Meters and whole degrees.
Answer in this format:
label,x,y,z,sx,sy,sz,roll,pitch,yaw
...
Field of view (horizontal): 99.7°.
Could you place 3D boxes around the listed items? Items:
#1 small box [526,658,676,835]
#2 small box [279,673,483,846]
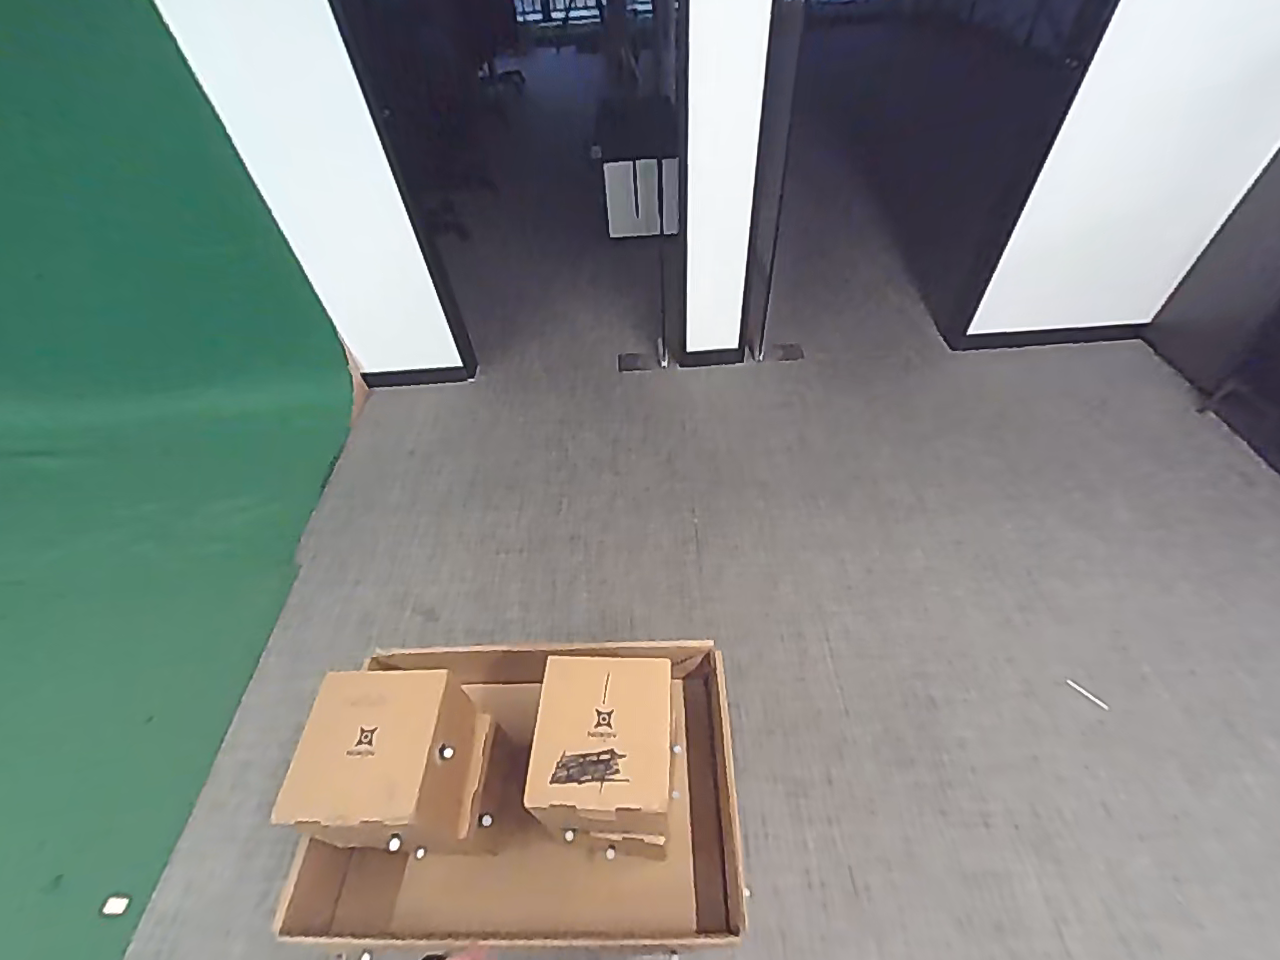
label,x,y,z,sx,sy,sz,roll,pitch,yaw
small box,-0.038,0.355,0.716,0.168,0.176,0.179,0,48,5
small box,-0.325,0.377,0.724,0.168,0.176,0.179,-2,48,3
